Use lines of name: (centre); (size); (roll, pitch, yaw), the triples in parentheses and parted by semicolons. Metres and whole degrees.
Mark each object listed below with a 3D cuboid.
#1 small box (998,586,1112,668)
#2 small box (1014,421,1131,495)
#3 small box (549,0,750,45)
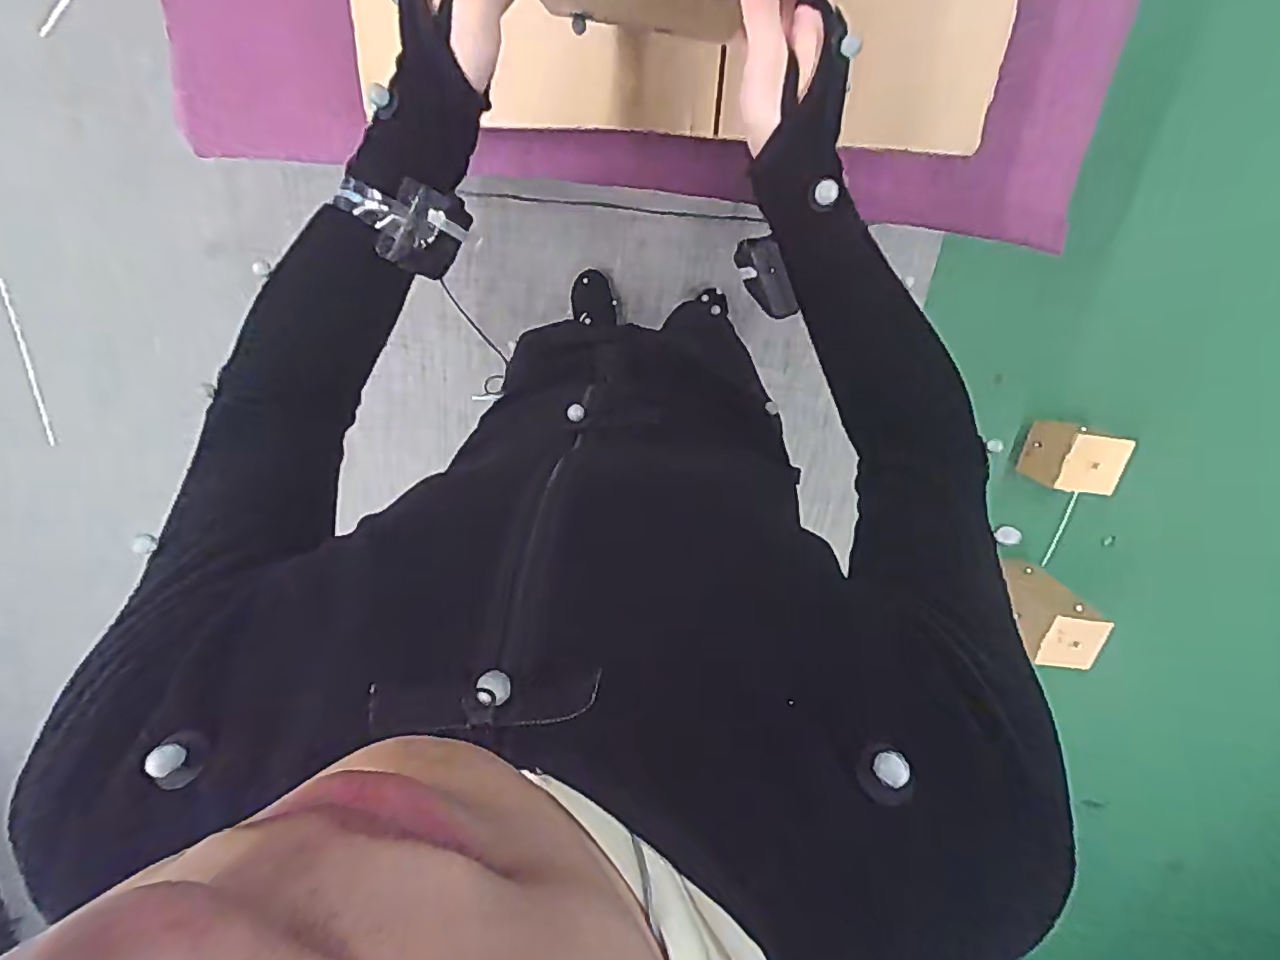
small box: (1.219, 0.431, 1.602); (0.179, 0.176, 0.168); (7, 111, -4)
small box: (1.260, -0.069, 1.590); (0.179, 0.176, 0.168); (6, 111, -3)
small box: (0.010, -0.429, 0.368); (0.168, 0.176, 0.179); (8, 119, -3)
